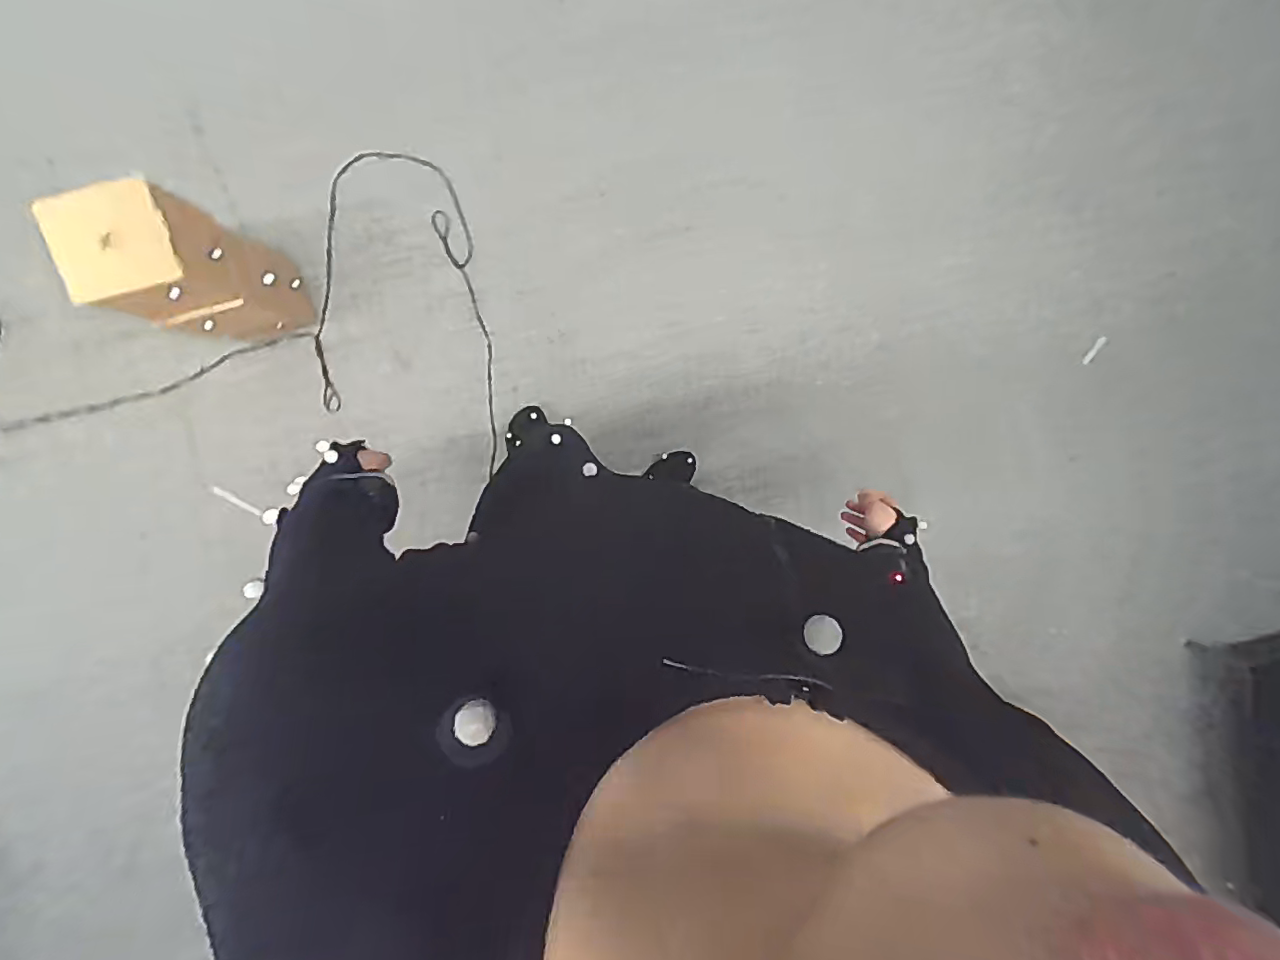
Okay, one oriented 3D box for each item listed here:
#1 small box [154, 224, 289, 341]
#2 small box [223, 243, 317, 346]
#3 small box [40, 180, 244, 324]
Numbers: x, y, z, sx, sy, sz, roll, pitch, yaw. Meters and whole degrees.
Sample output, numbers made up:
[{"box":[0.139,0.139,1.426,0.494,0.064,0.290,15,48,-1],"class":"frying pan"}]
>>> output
[{"box":[-0.874,-0.396,1.111,0.179,0.176,0.168,-17,97,-4],"class":"small box"},{"box":[-0.898,-0.428,1.271,0.179,0.176,0.168,-20,96,-3],"class":"small box"},{"box":[-0.856,-0.387,0.950,0.179,0.176,0.168,-18,97,-5],"class":"small box"}]
